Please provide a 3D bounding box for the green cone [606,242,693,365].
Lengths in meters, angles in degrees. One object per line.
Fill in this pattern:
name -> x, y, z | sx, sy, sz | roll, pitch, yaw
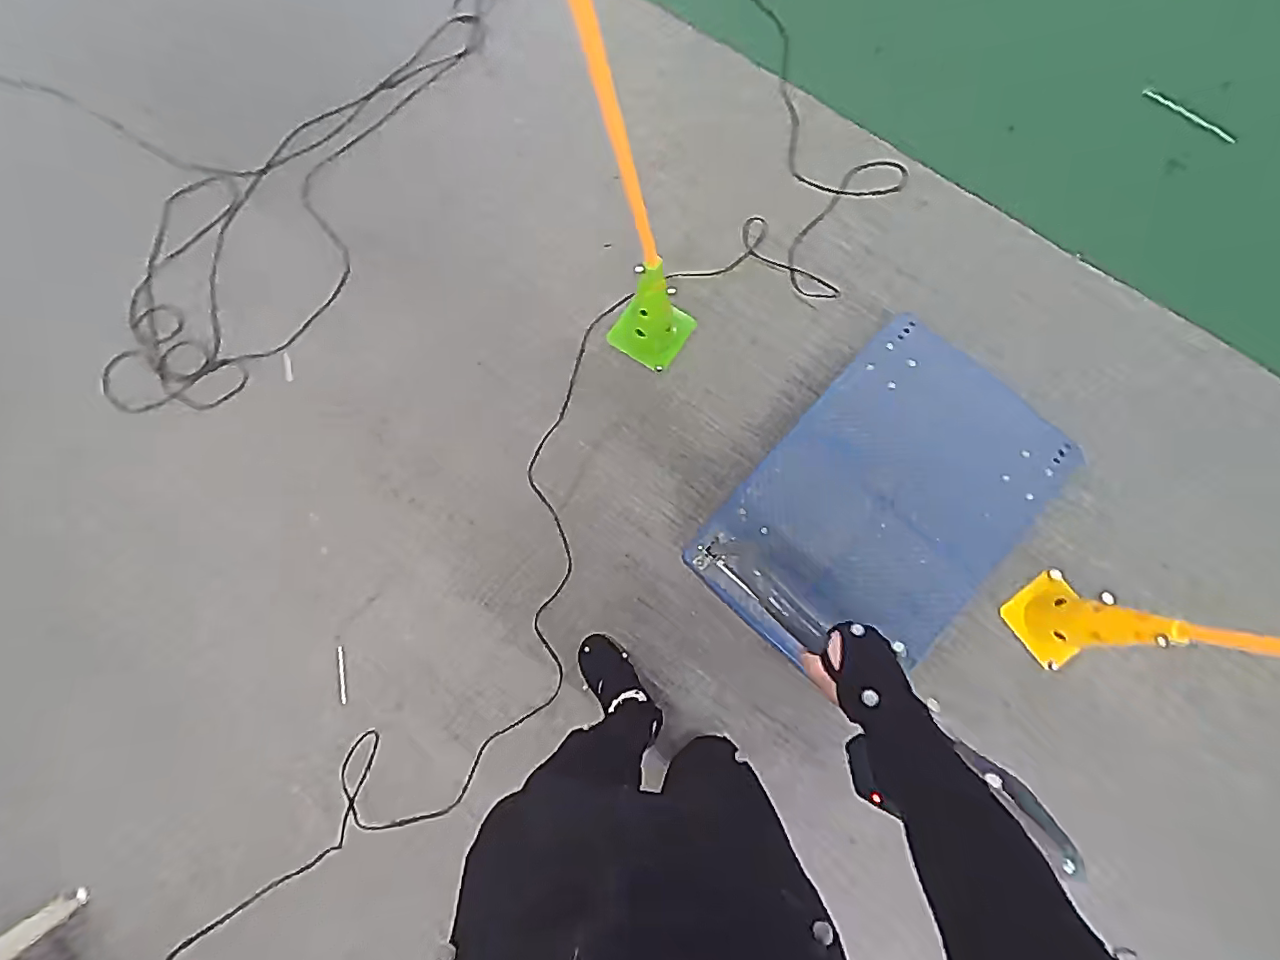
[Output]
green cone -> 0.023, -0.484, 1.389 | 0.202, 0.368, 0.200 | 32, 81, 7
